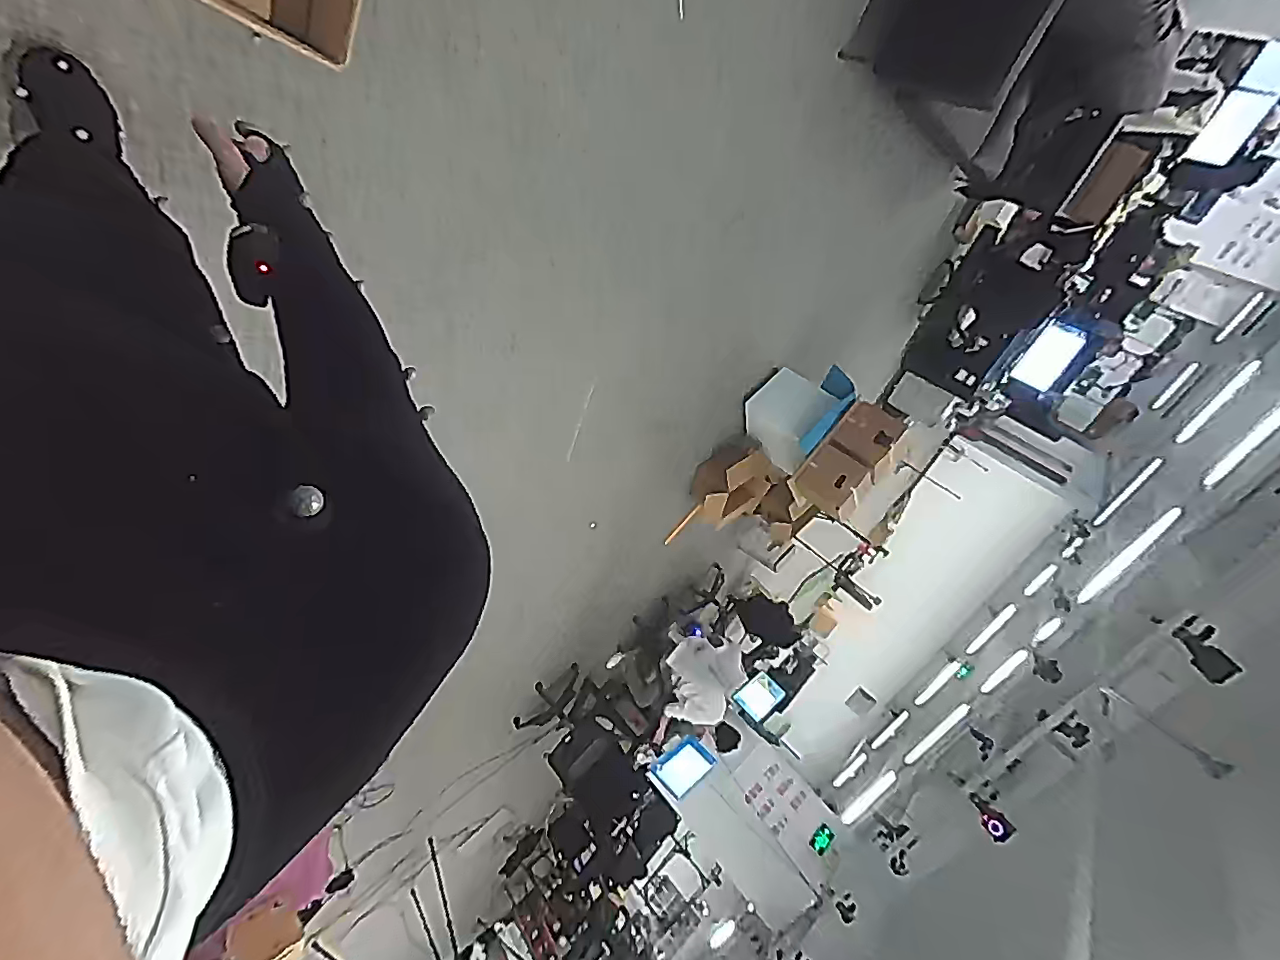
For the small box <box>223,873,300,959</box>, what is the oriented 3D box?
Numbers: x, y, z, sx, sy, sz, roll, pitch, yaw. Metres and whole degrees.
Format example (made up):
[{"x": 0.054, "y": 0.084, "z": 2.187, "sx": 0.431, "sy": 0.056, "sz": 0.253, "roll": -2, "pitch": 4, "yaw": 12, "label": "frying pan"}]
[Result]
[{"x": -1.233, "y": 1.433, "z": 1.759, "sx": 0.168, "sy": 0.176, "sz": 0.179, "roll": -12, "pitch": 136, "yaw": -49, "label": "small box"}]
